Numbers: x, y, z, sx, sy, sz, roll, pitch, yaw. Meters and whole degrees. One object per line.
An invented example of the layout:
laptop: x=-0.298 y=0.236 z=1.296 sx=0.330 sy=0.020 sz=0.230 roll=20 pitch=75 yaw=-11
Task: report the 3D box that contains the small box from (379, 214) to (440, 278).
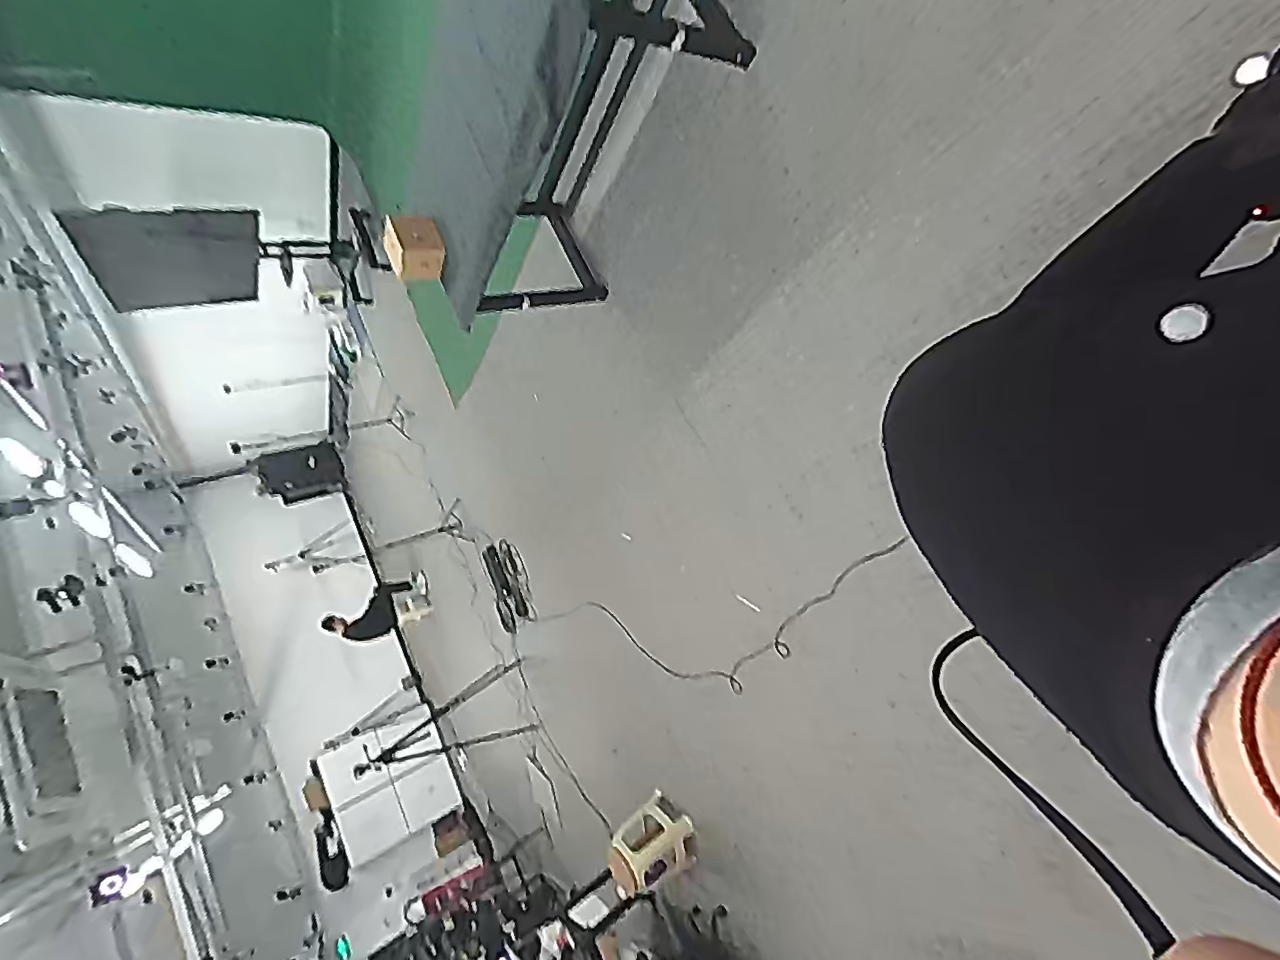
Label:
small box: x=-0.912 y=-0.931 z=2.143 sx=0.168 sy=0.176 sz=0.179 roll=-40 pitch=74 yaw=51
